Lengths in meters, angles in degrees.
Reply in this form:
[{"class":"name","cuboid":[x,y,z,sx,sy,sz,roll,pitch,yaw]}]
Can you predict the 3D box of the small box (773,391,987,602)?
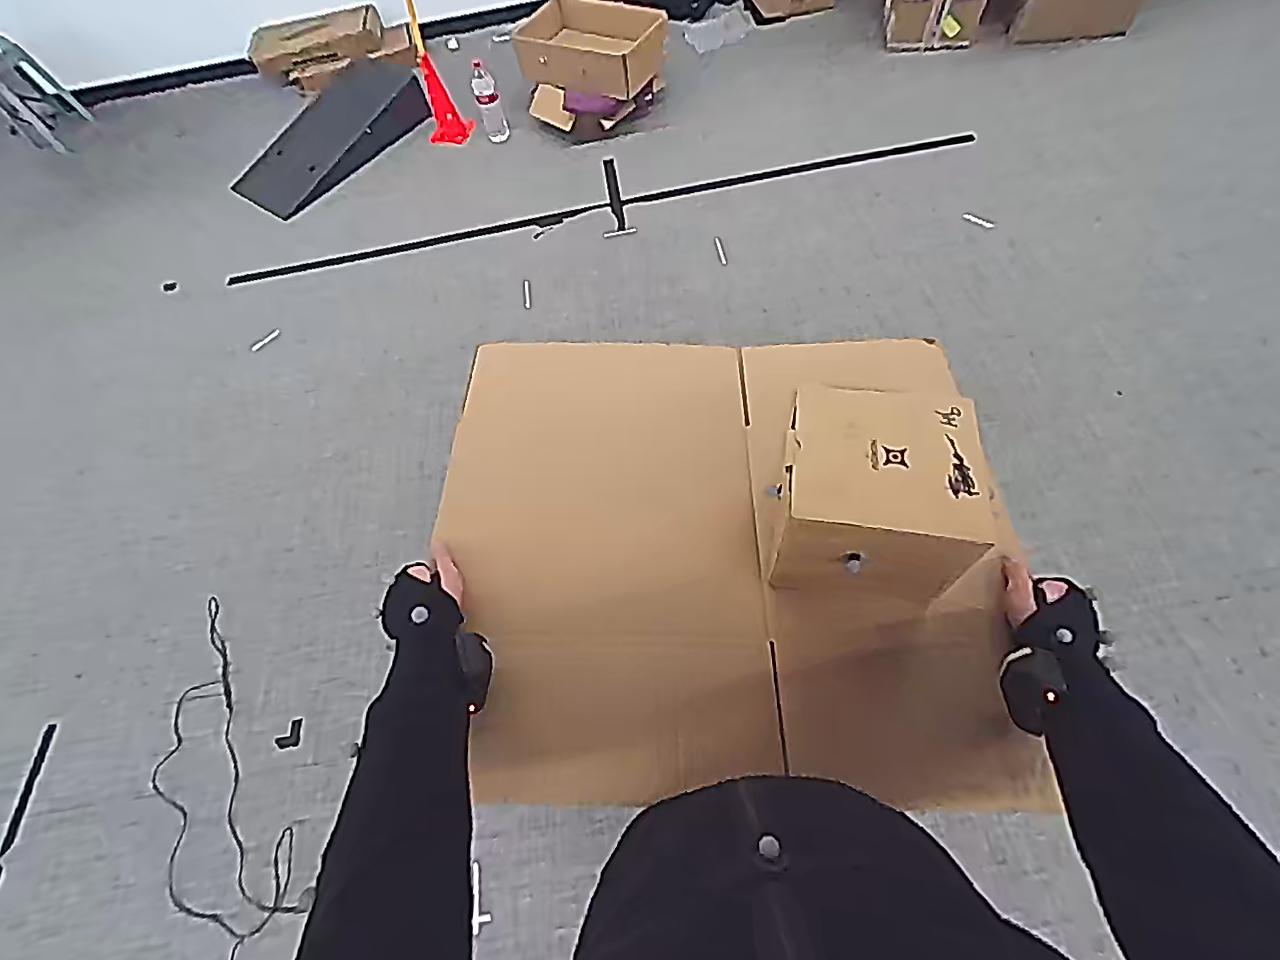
[{"class":"small box","cuboid":[0.244,0.023,0.595,0.179,0.176,0.168,6,59,11]}]
